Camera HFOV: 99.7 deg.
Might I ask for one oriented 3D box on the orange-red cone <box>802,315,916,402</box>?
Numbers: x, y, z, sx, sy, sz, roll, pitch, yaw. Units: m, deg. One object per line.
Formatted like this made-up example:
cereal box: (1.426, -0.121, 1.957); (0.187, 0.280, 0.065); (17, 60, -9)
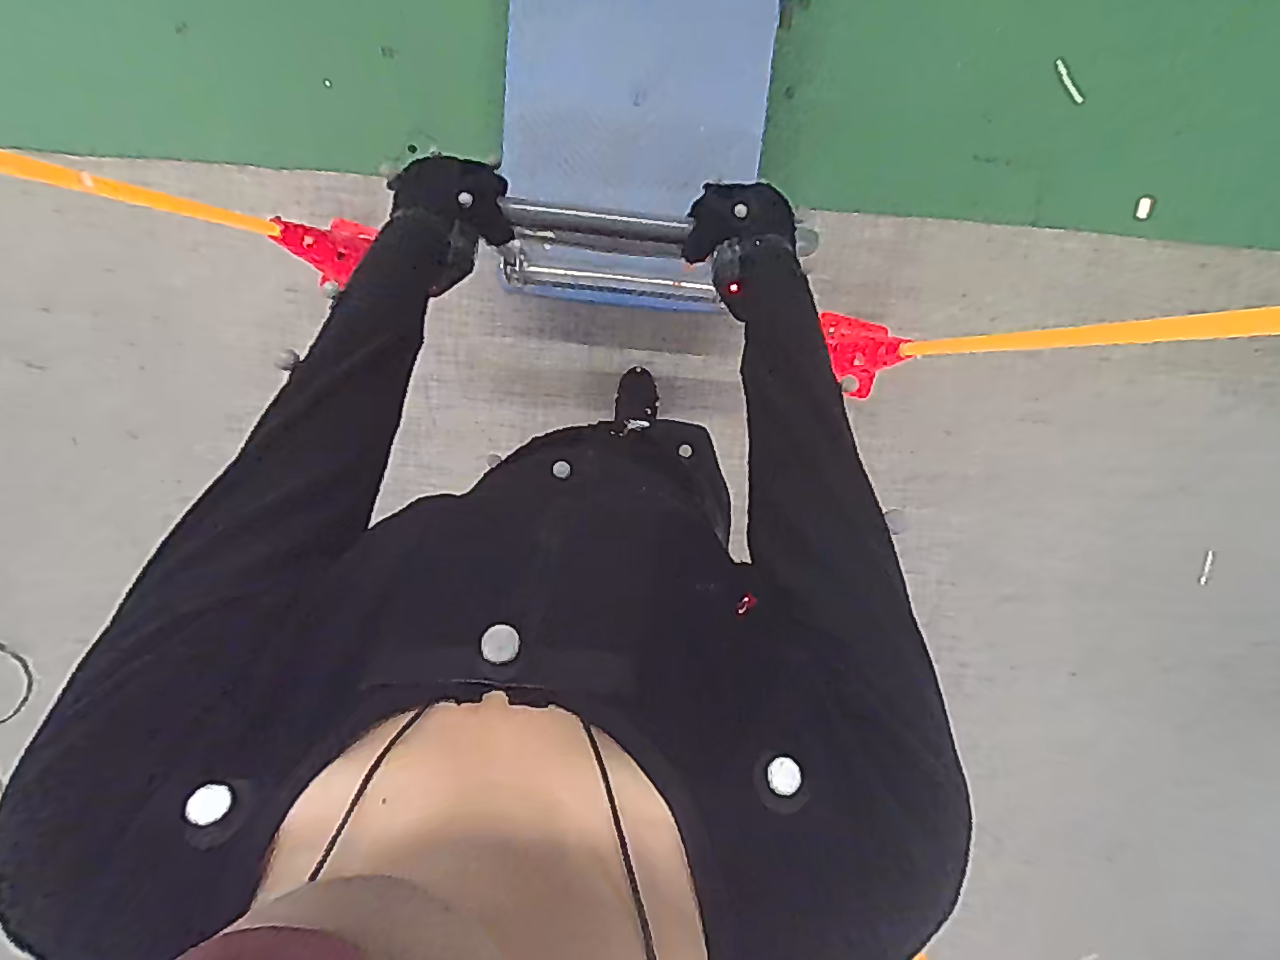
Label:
orange-red cone: (0.552, -0.295, 1.282); (0.198, 0.360, 0.199); (14, 100, -2)
